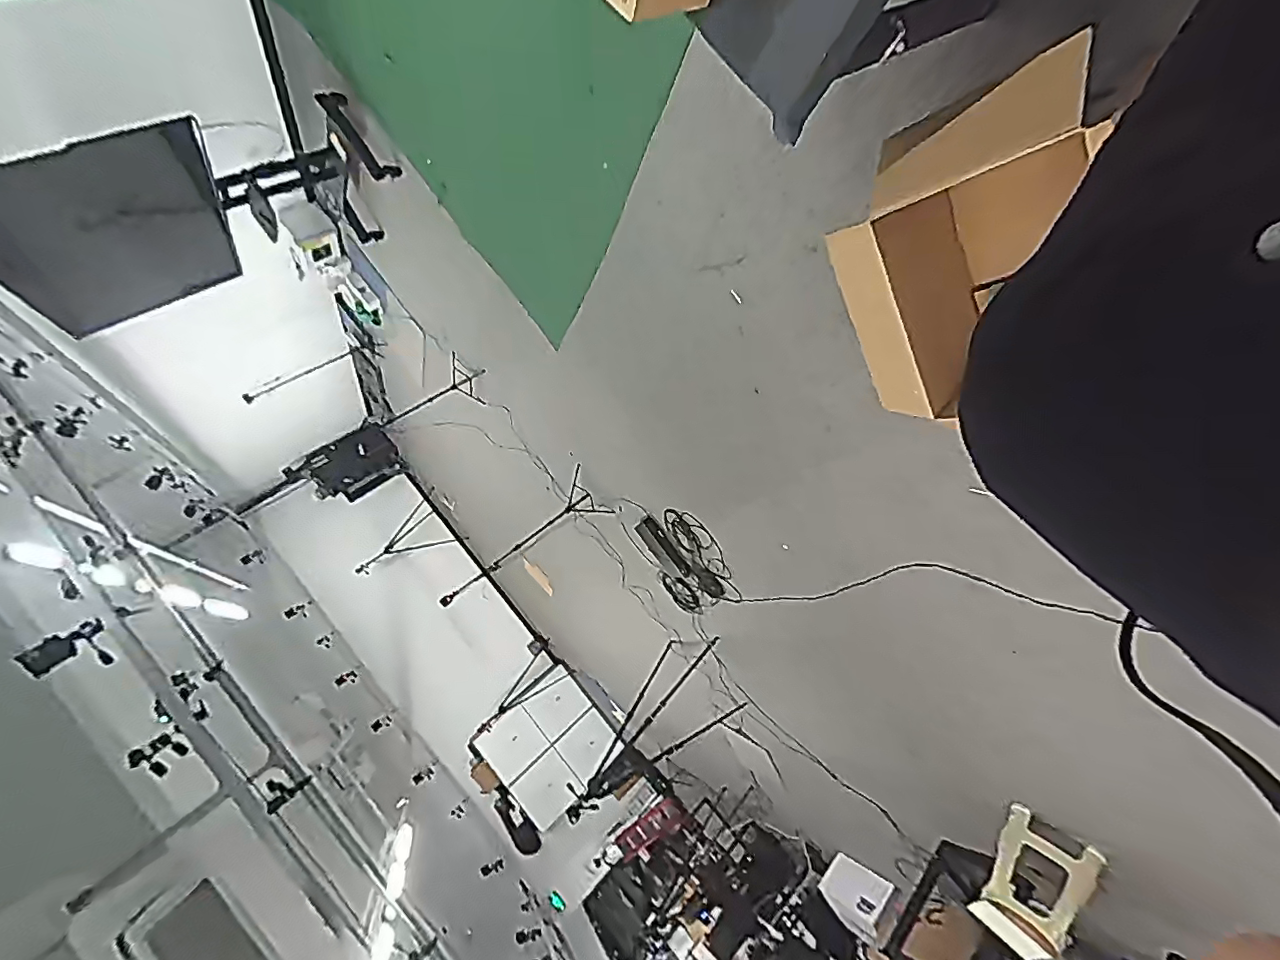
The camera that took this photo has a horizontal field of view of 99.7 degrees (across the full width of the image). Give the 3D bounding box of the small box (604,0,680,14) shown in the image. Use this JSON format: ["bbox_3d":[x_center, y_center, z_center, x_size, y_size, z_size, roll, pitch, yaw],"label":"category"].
[{"bbox_3d":[-0.002,-0.768,0.705,0.168,0.176,0.179,48,152,7],"label":"small box"}]
